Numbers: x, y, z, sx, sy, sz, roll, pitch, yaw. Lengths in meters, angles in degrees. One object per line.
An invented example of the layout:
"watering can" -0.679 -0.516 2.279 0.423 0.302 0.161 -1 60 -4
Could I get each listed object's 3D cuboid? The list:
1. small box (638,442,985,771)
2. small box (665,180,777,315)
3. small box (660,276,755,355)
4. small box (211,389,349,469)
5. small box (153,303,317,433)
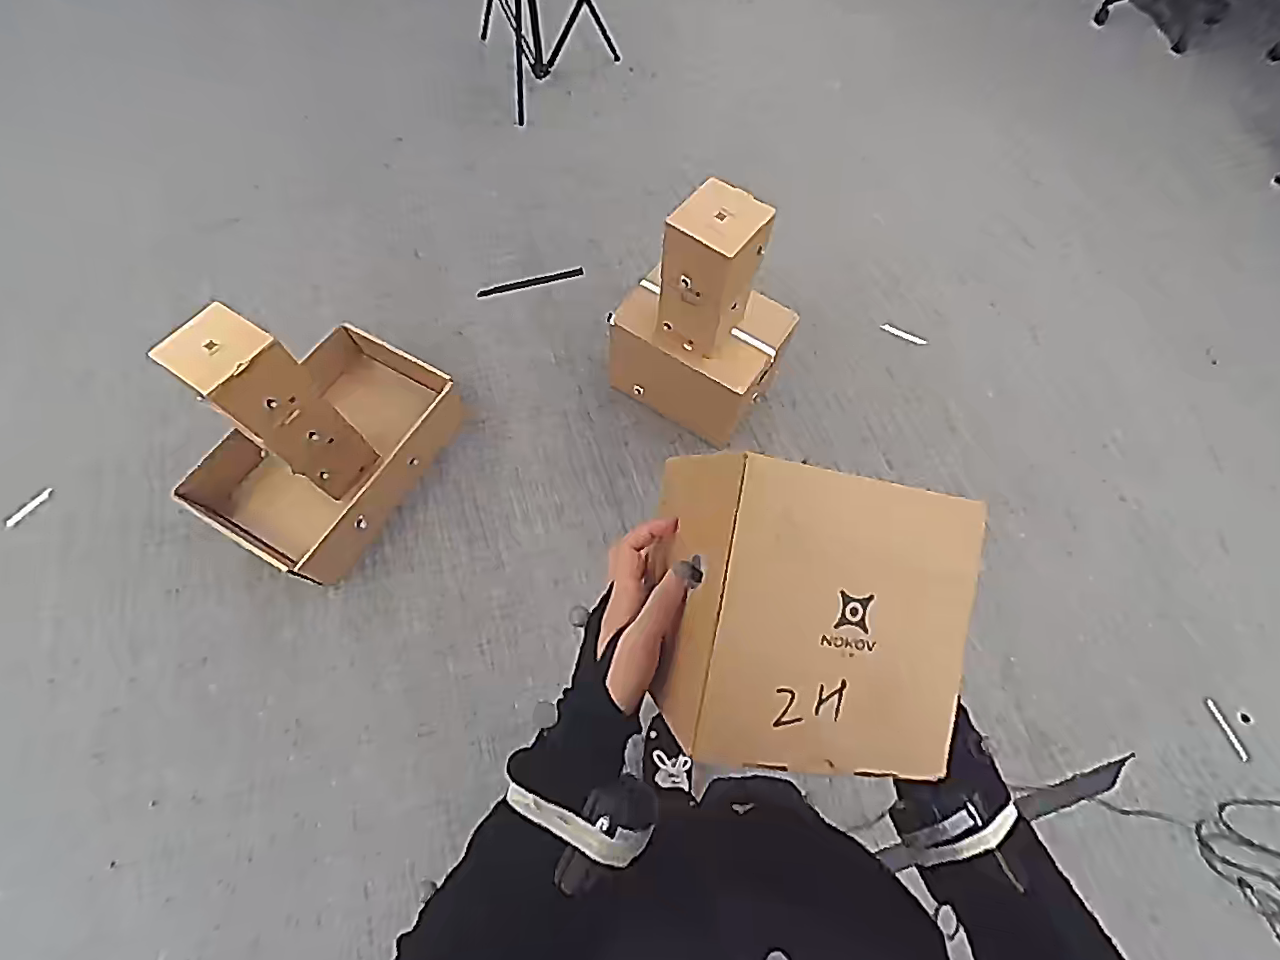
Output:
"small box" 0.105 0.079 0.395 0.168 0.176 0.179 12 88 -13
"small box" 0.166 -0.502 1.179 0.168 0.176 0.179 35 70 13
"small box" 0.160 -0.442 1.330 0.168 0.176 0.179 33 68 11
"small box" -0.832 -0.149 1.273 0.179 0.176 0.168 32 68 11
"small box" -0.831 -0.226 1.128 0.179 0.176 0.168 31 68 11
